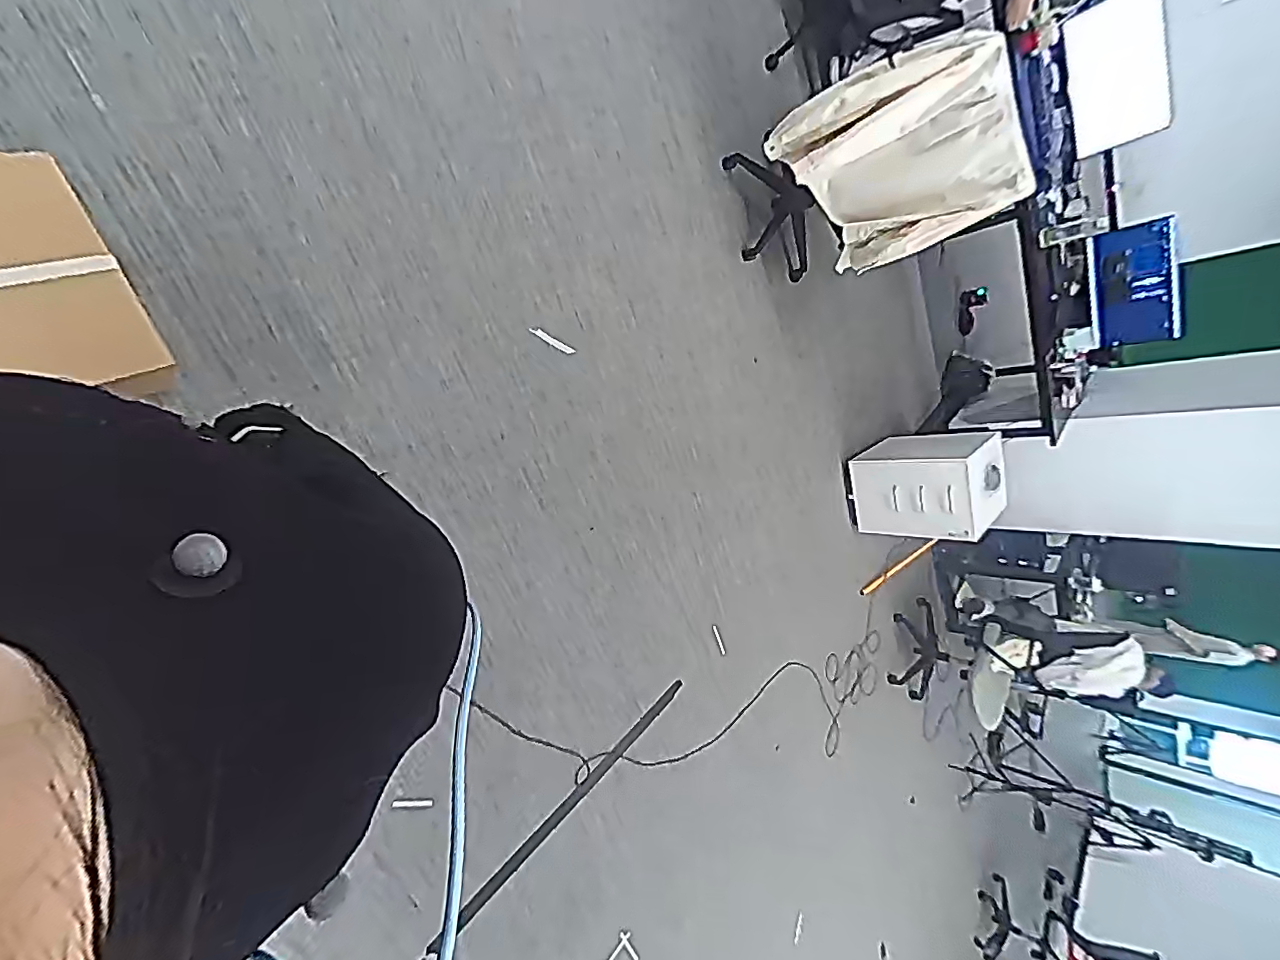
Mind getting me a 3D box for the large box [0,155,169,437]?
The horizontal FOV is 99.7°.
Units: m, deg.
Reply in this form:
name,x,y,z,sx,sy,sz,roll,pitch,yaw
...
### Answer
name,x,y,z,sx,sy,sz,roll,pitch,yaw
large box,-1.015,-0.228,0.791,0.408,0.320,0.320,-34,113,-37
